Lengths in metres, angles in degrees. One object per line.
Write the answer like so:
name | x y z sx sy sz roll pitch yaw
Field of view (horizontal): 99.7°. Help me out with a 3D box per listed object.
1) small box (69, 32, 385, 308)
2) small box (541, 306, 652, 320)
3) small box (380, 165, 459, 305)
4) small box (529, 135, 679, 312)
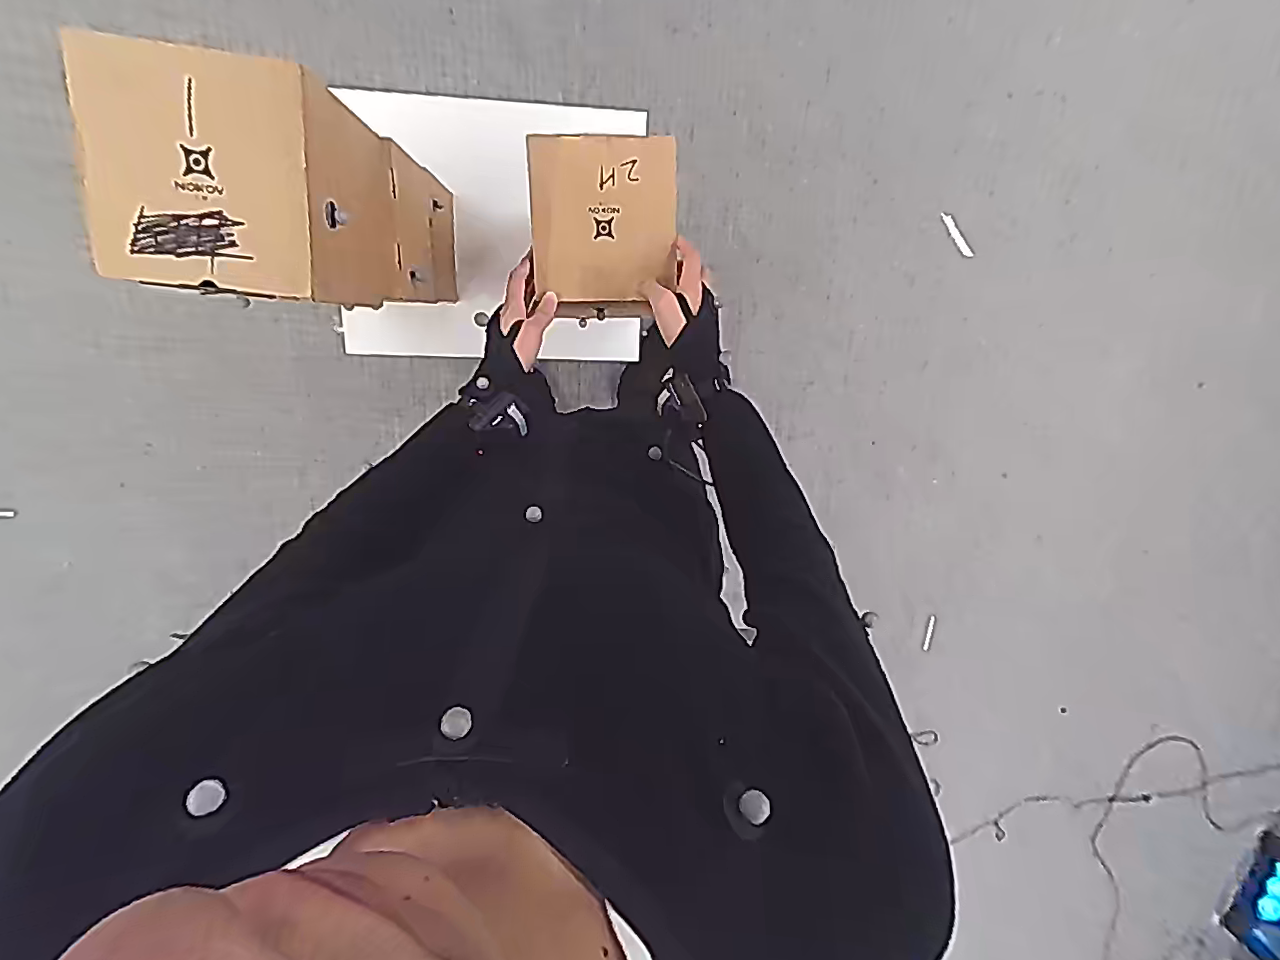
small box | -0.349 -0.258 0.500 0.168 0.176 0.179 4 105 -7
small box | -0.069 -0.344 0.847 0.168 0.176 0.179 -1 106 -4
small box | -0.375 -0.359 0.812 0.168 0.176 0.179 1 106 -7
small box | -0.045 -0.307 0.684 0.168 0.176 0.179 -2 104 -5
